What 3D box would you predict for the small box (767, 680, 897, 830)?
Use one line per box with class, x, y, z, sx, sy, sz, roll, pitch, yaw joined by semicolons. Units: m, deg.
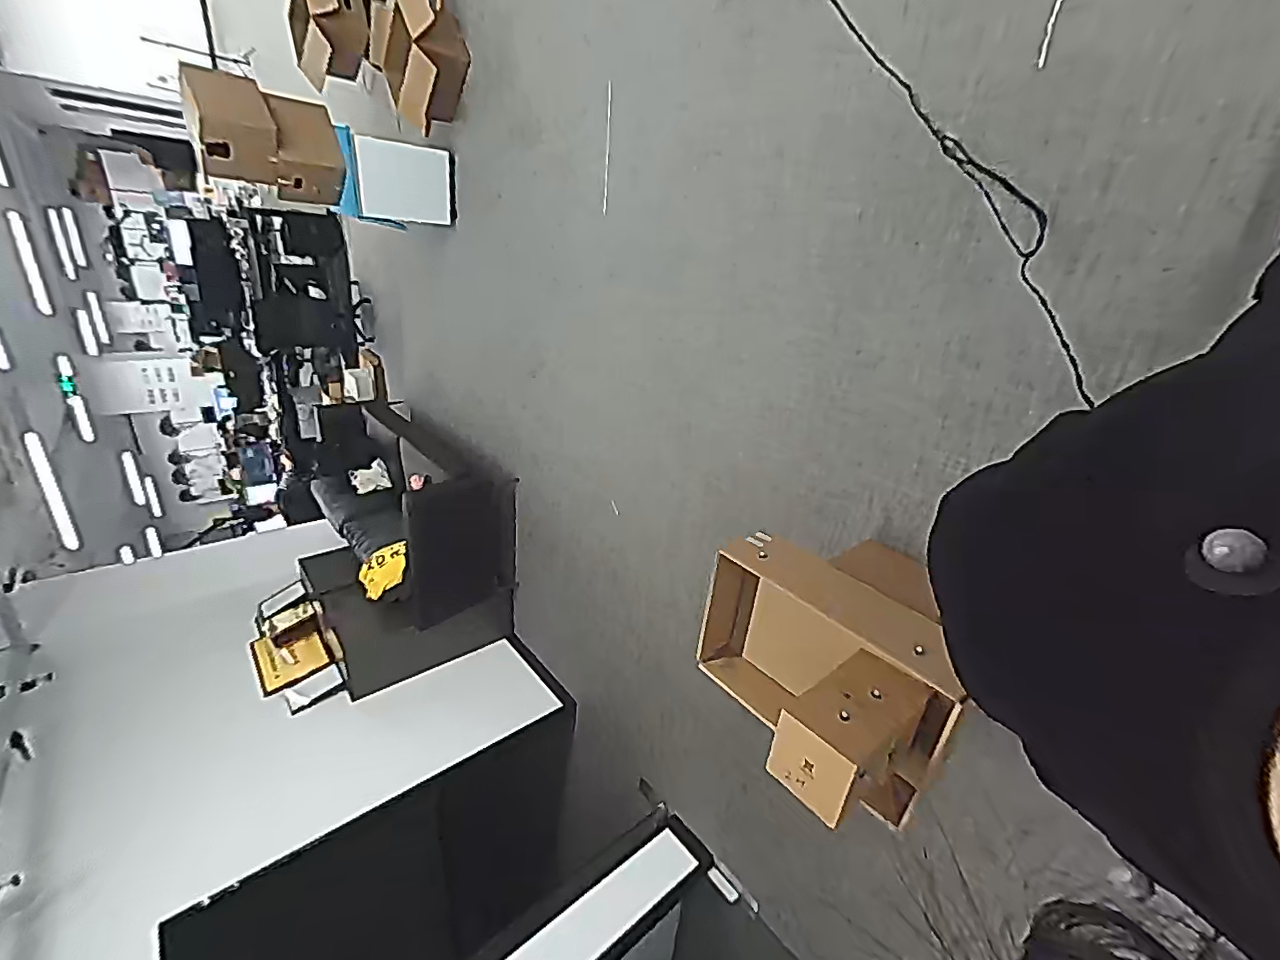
small box;0.388;0.541;1.091;0.168;0.176;0.179;31;123;43
